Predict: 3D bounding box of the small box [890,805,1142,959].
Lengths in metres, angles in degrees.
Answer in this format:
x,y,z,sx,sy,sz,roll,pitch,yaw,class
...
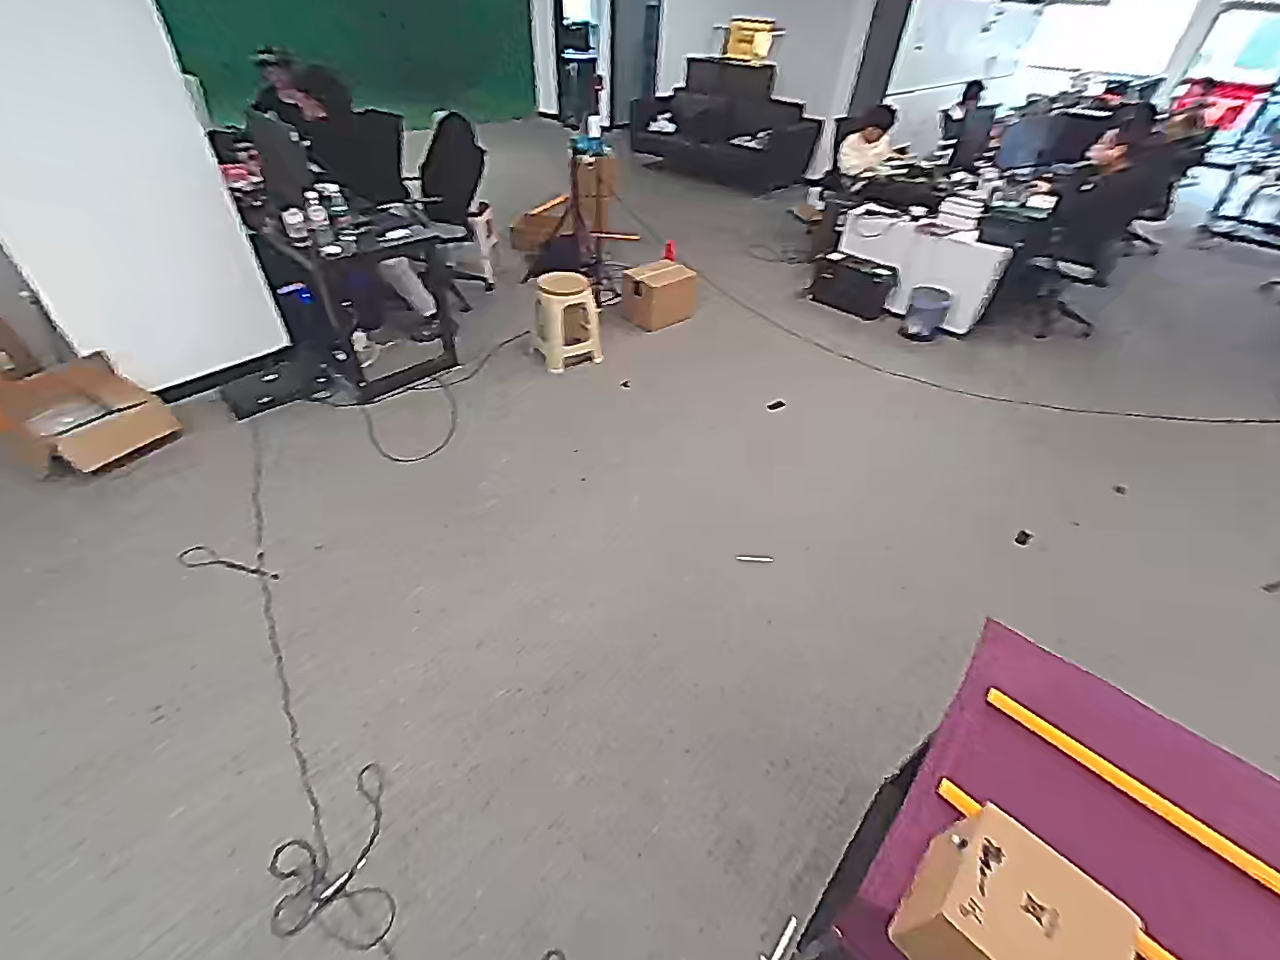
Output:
x,y,z,sx,sy,sz,roll,pitch,yaw,class
0.451,0.556,0.670,0.179,0.176,0.168,37,51,28,small box
